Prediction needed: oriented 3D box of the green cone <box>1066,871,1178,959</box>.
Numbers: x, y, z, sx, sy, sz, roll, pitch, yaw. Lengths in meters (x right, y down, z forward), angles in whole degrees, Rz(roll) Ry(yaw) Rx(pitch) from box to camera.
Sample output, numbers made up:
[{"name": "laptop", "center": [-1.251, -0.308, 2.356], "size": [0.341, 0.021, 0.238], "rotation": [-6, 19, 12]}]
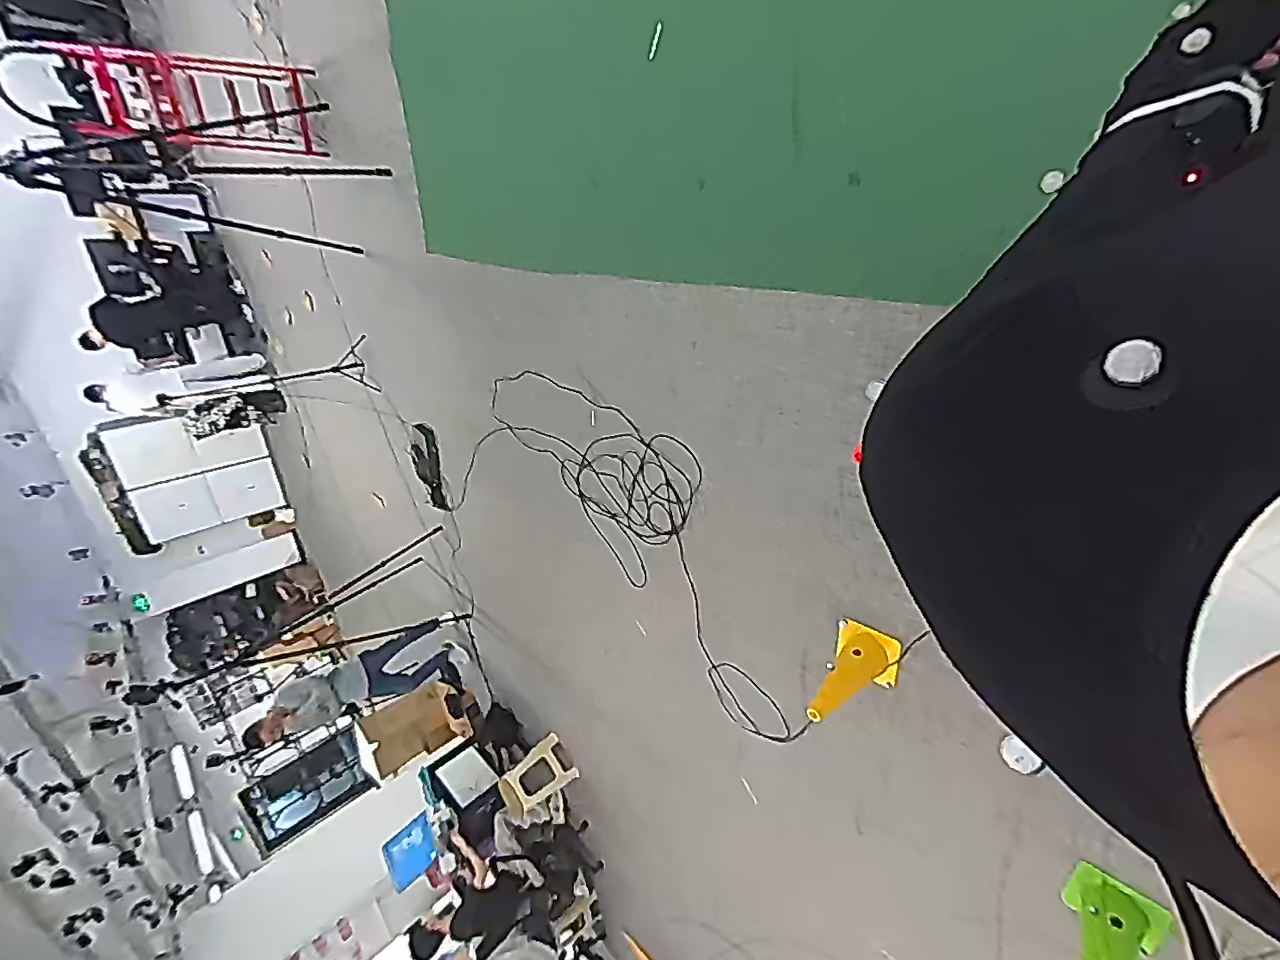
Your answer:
[{"name": "green cone", "center": [1.185, 1.244, 1.370], "size": [0.202, 0.368, 0.200], "rotation": [22, 123, 42]}]

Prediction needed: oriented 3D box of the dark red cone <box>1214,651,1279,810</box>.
[{"name": "dark red cone", "center": [1.183, 0.499, 0.967], "size": [0.202, 0.394, 0.201], "rotation": [17, 119, 43]}]
